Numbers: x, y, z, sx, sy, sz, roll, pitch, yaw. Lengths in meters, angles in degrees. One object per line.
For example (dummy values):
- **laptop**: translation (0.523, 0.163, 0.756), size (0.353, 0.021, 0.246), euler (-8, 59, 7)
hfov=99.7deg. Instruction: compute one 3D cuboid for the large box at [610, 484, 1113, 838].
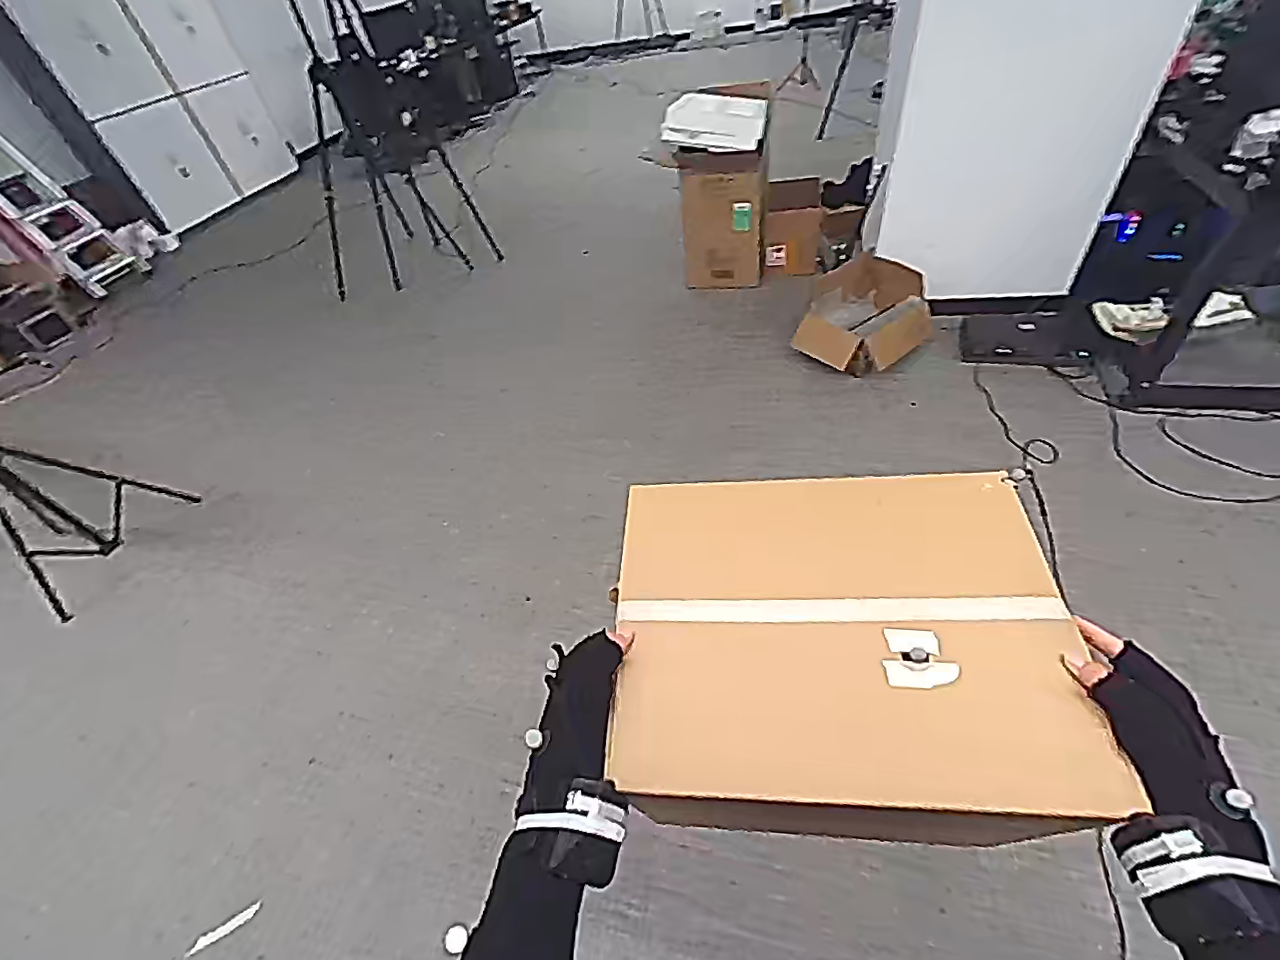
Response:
- **large box**: translation (0.194, 0.227, 0.644), size (0.408, 0.320, 0.320), euler (-3, 54, 9)
